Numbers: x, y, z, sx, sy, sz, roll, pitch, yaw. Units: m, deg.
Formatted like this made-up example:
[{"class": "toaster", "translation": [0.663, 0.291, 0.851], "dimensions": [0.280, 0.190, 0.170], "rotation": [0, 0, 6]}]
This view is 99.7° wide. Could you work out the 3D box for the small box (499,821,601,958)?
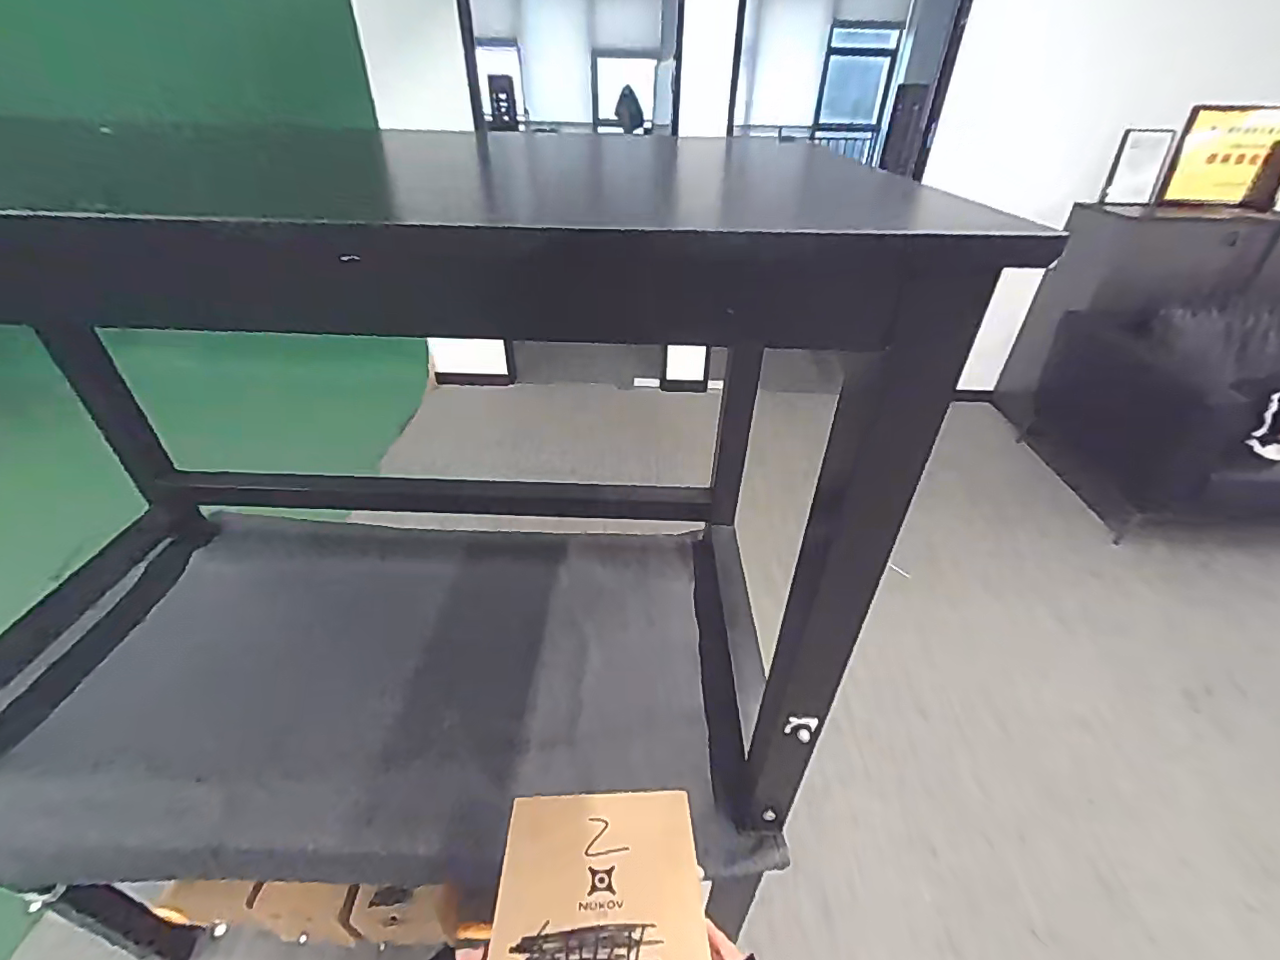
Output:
[{"class": "small box", "translation": [-0.176, 0.844, 1.118], "dimensions": [0.168, 0.176, 0.179], "rotation": [4, 38, 5]}]
